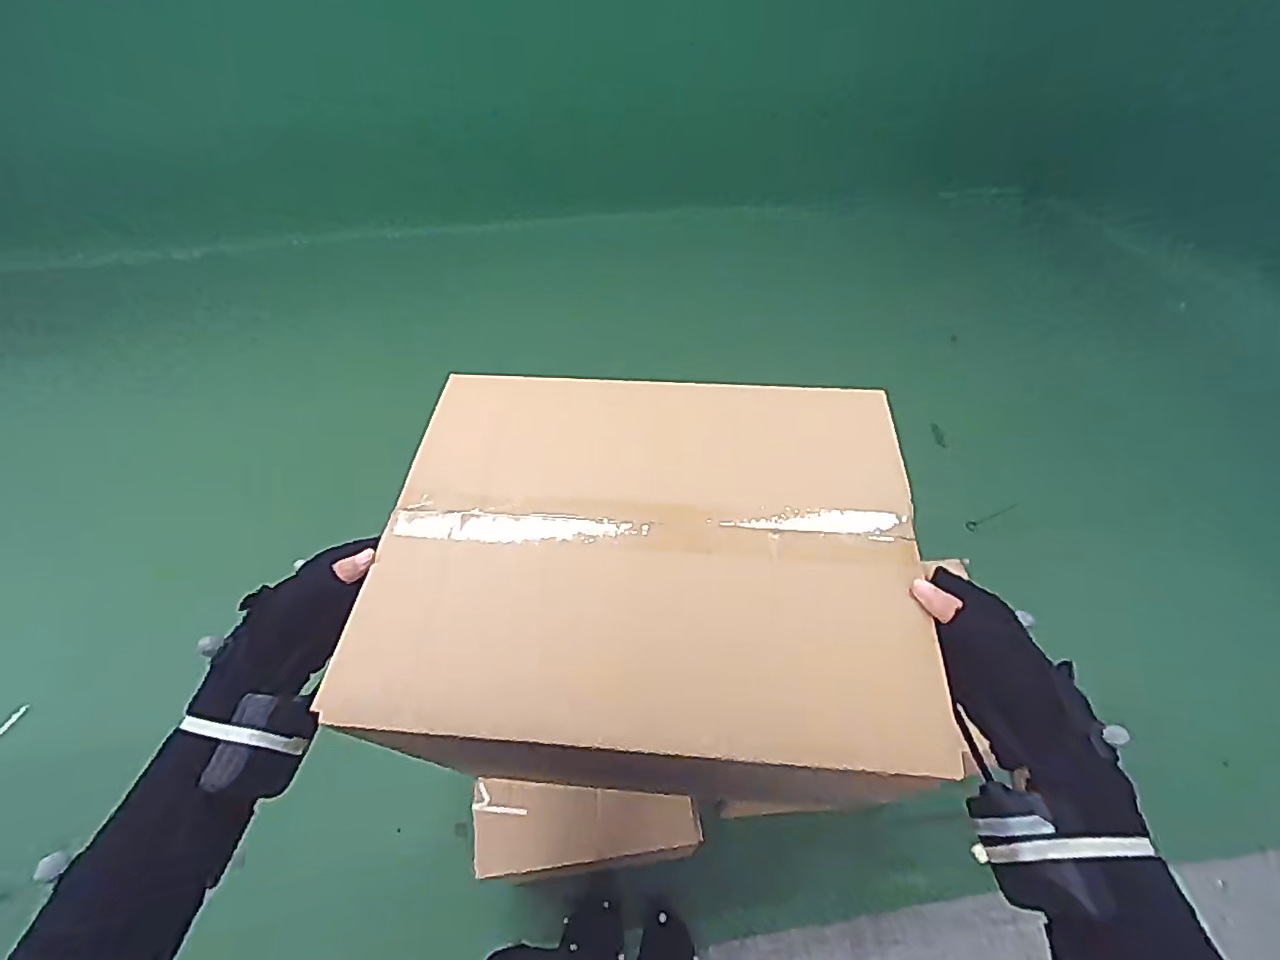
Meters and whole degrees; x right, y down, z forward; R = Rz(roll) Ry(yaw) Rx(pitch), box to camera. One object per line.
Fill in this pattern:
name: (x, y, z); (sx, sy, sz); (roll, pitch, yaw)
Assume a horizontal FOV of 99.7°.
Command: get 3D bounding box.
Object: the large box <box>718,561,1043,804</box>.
large box: (0.383, 0.374, 0.990); (0.408, 0.320, 0.320); (-4, 53, -4)
